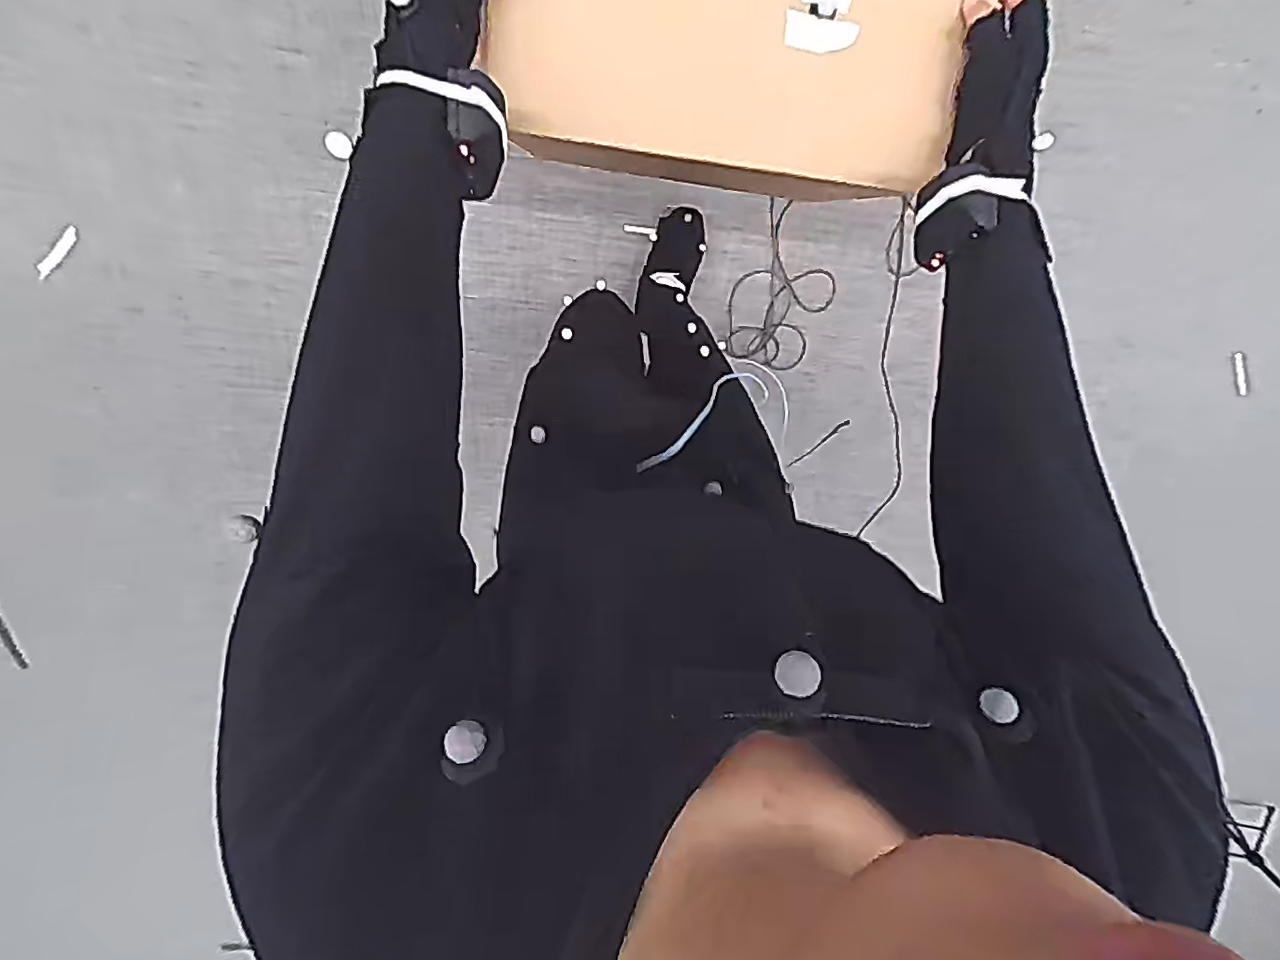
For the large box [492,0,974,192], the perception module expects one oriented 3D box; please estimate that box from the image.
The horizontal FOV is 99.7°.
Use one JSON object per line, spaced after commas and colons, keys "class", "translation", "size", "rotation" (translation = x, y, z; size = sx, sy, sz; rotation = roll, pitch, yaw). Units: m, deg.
{"class": "large box", "translation": [0.076, -0.500, 0.557], "size": [0.408, 0.320, 0.320], "rotation": [5, 116, -6]}
